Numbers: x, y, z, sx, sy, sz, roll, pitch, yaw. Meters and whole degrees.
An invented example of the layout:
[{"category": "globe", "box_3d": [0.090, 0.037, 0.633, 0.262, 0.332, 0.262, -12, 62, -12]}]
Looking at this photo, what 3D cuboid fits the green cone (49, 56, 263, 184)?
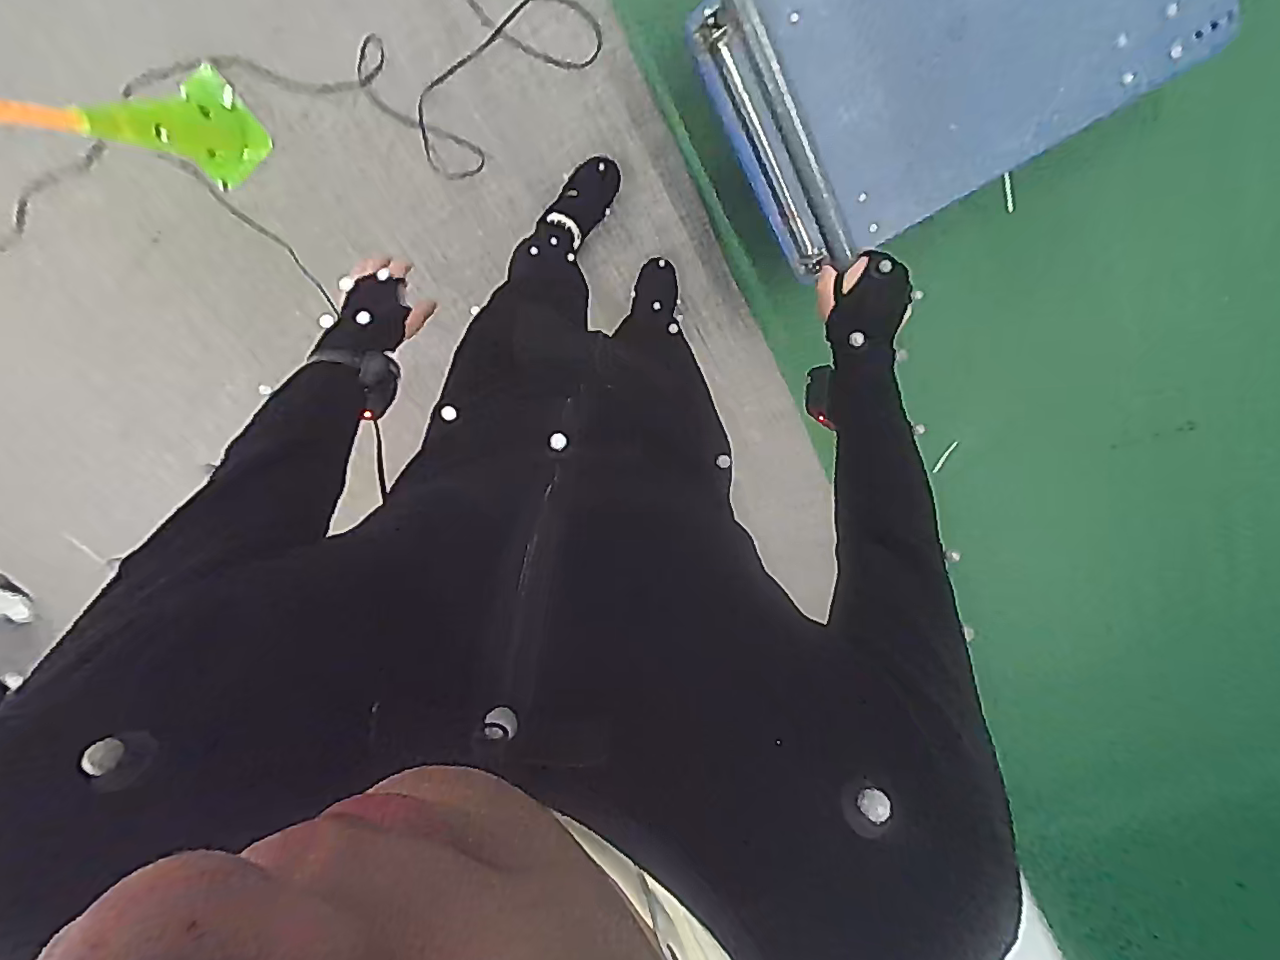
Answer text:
[{"category": "green cone", "box_3d": [-1.039, -0.766, 1.138, 0.200, 0.368, 0.202, -28, 114, 18]}]
